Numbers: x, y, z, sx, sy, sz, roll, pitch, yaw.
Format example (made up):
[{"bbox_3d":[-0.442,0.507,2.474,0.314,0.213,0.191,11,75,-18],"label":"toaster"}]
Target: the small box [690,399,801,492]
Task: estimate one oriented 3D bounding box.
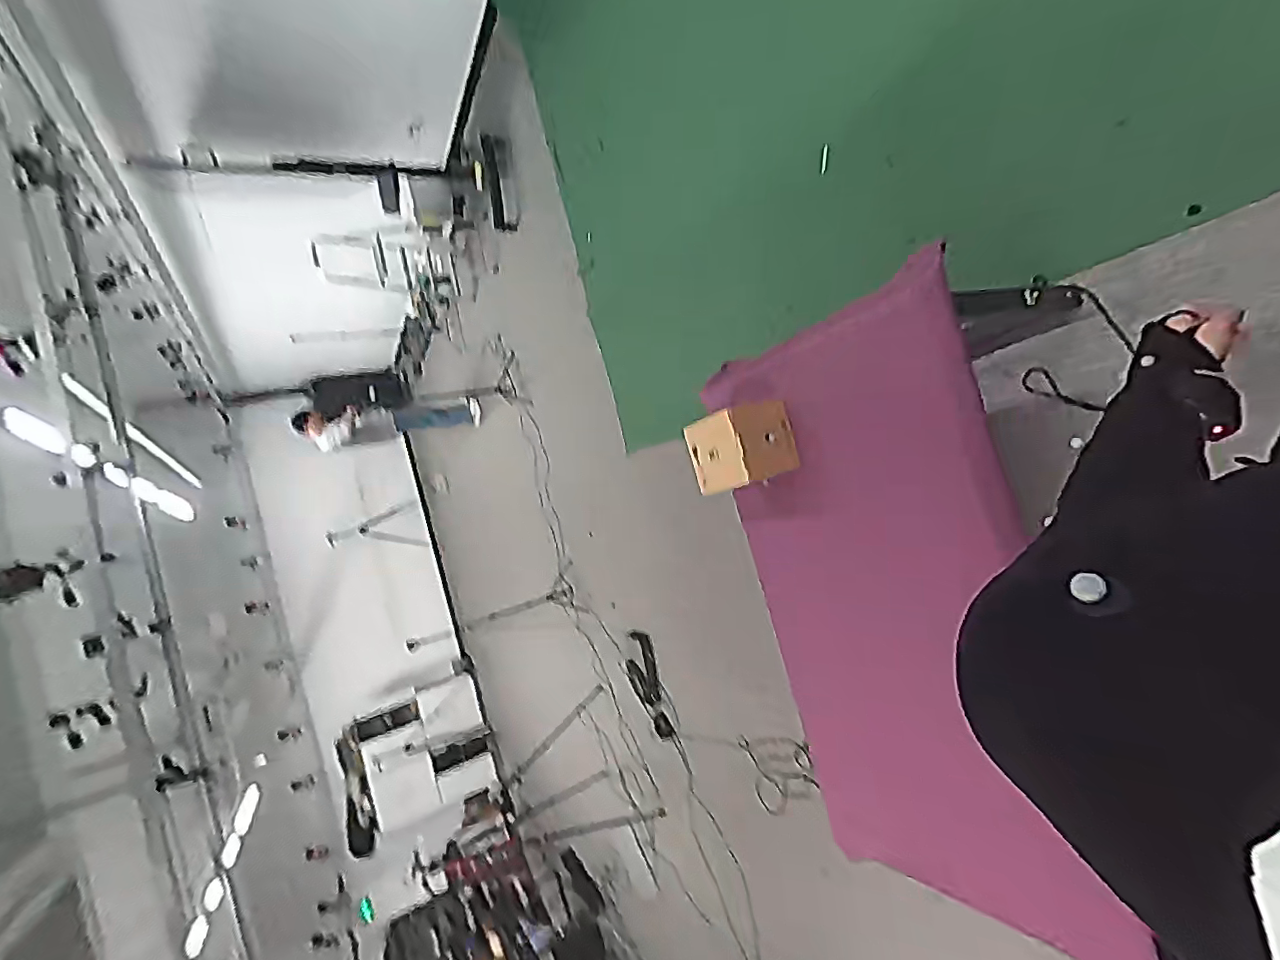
[{"bbox_3d":[0.251,-0.081,1.259,0.179,0.176,0.168,-21,85,59],"label":"small box"}]
